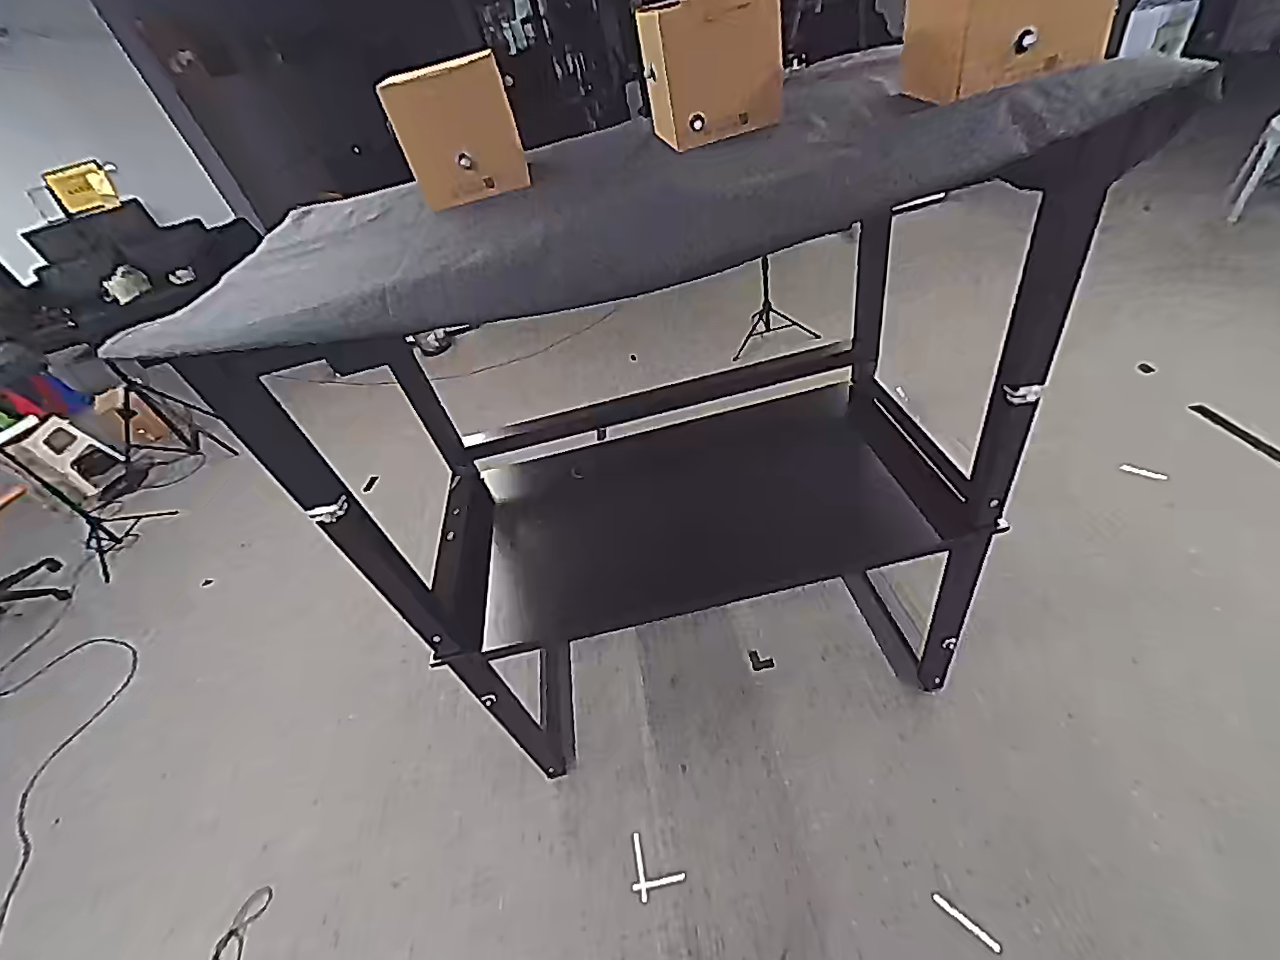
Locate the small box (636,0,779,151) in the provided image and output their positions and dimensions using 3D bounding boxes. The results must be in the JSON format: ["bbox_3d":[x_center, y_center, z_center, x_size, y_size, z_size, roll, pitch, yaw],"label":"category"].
[{"bbox_3d":[0.103,-0.617,0.816,0.168,0.176,0.179,-16,40,0],"label":"small box"}]

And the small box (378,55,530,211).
[{"bbox_3d":[-0.281,-0.548,0.858,0.168,0.176,0.179,-16,42,0],"label":"small box"}]

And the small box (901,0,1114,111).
[{"bbox_3d":[0.441,-0.576,0.665,0.168,0.176,0.179,-11,42,6],"label":"small box"}]
